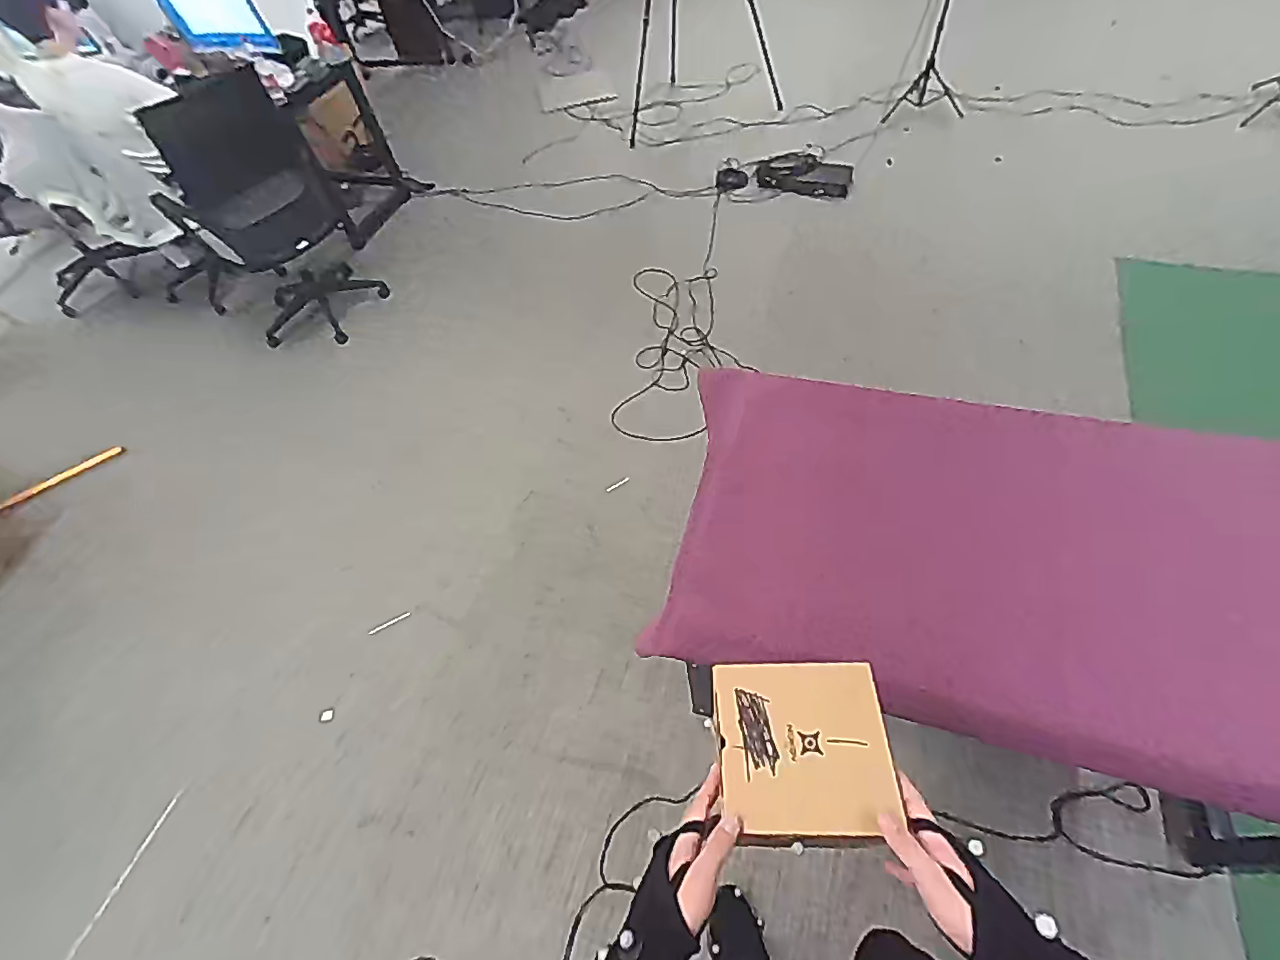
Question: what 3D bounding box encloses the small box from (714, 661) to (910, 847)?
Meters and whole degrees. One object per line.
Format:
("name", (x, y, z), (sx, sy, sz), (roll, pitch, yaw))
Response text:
("small box", (0.178, 0.317, 0.621), (0.179, 0.176, 0.168), (-3, 53, 6))
